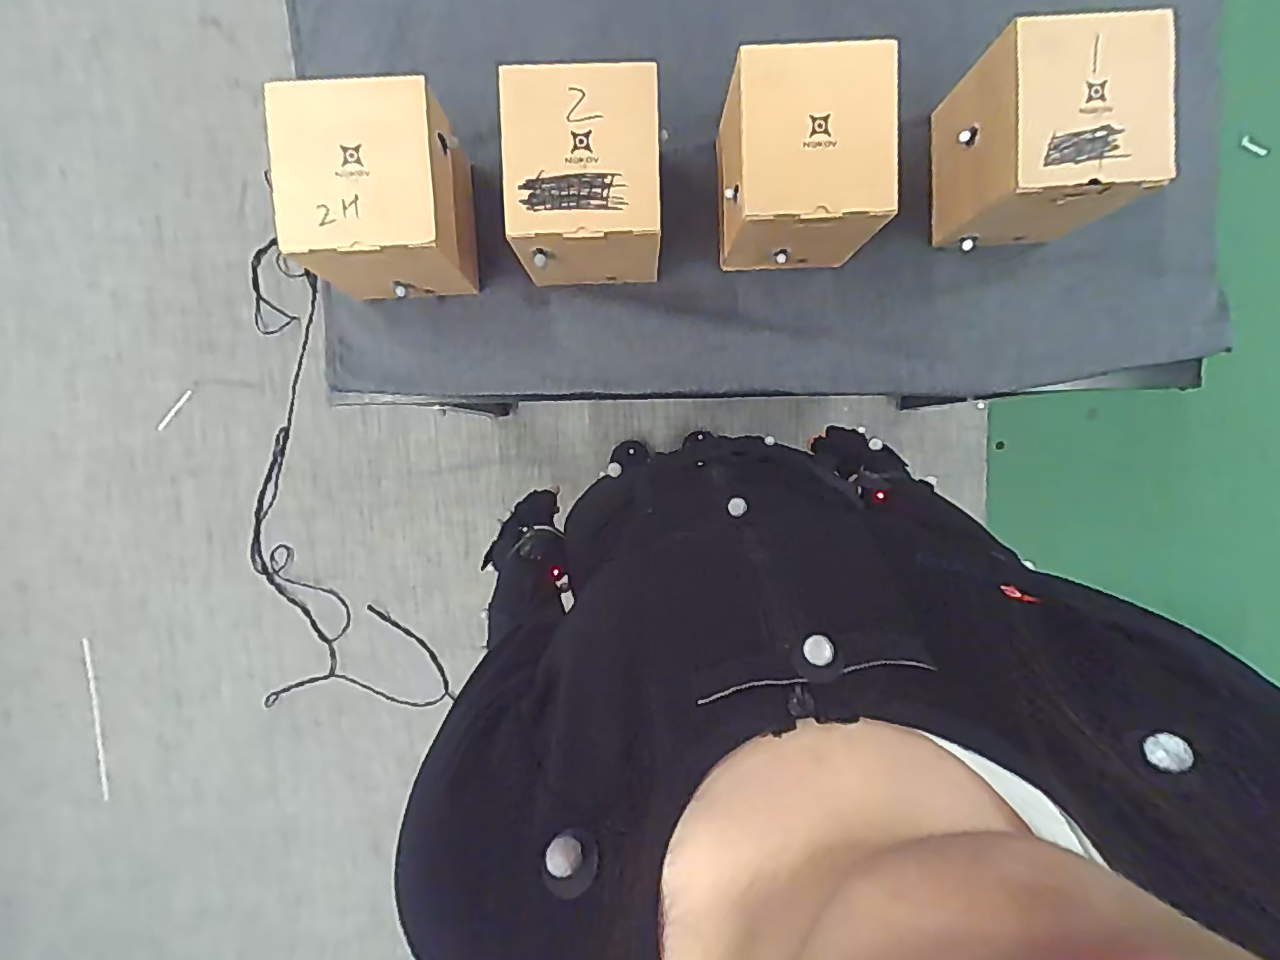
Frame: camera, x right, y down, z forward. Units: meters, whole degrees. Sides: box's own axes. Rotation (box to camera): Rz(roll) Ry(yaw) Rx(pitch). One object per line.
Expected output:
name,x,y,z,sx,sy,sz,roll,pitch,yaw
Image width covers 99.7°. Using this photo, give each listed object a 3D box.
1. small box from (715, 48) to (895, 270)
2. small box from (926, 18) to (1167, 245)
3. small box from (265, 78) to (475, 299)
small box,0.184,-0.368,0.648,0.168,0.176,0.179,-3,94,-1
small box,0.466,-0.395,0.646,0.168,0.176,0.179,-3,93,0
small box,-0.301,-0.328,0.637,0.168,0.176,0.179,-3,93,-2
